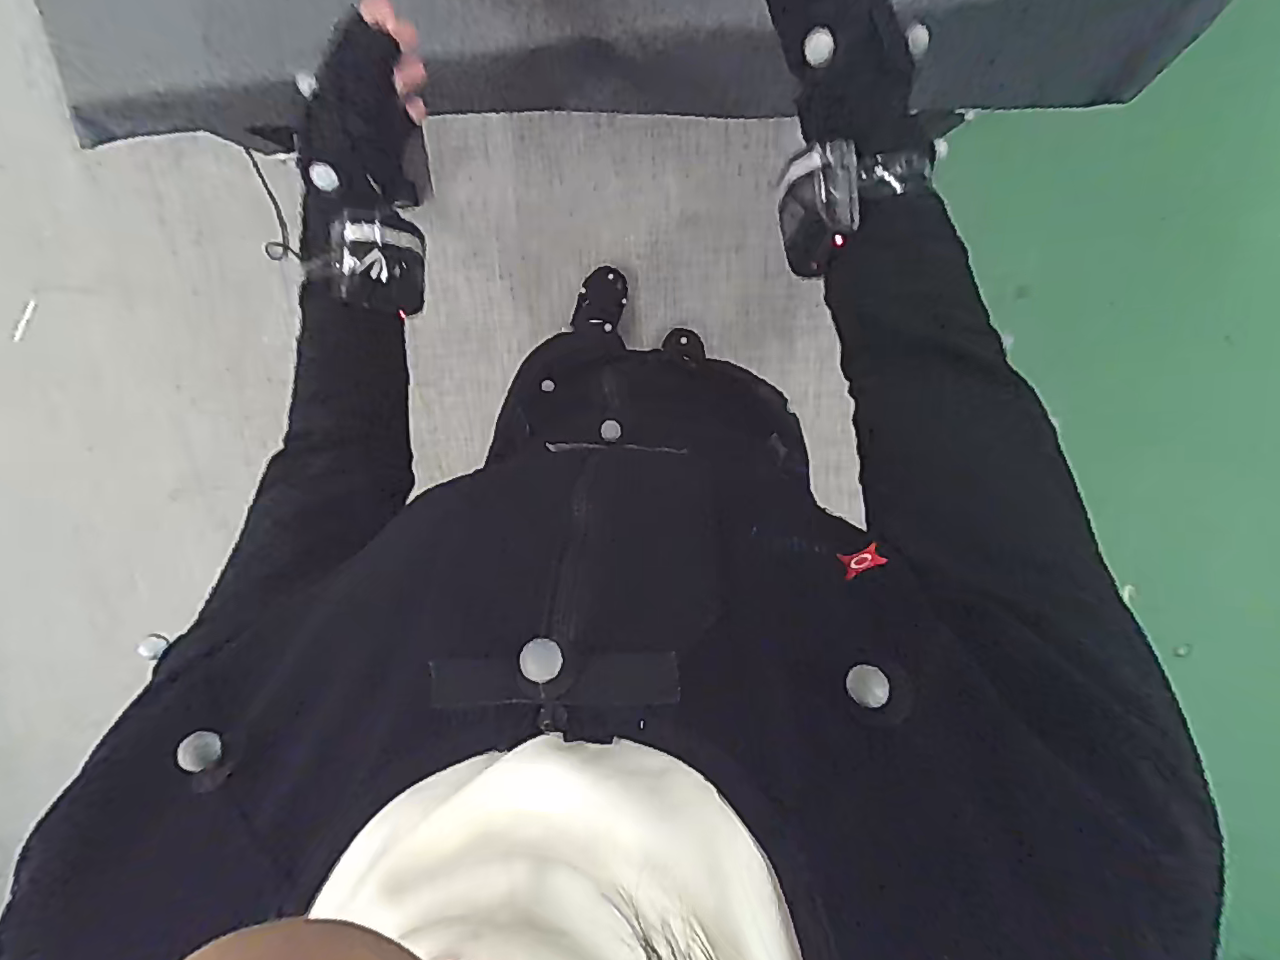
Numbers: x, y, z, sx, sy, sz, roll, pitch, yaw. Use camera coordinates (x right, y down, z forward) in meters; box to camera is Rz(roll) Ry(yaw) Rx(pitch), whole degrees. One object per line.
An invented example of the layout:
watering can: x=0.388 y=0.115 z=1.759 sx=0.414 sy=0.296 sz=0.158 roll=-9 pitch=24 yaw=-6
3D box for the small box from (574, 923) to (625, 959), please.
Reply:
small box: x=-0.143 y=1.724 z=1.925 sx=0.179 sy=0.176 sz=0.168 roll=1 pitch=107 yaw=4
